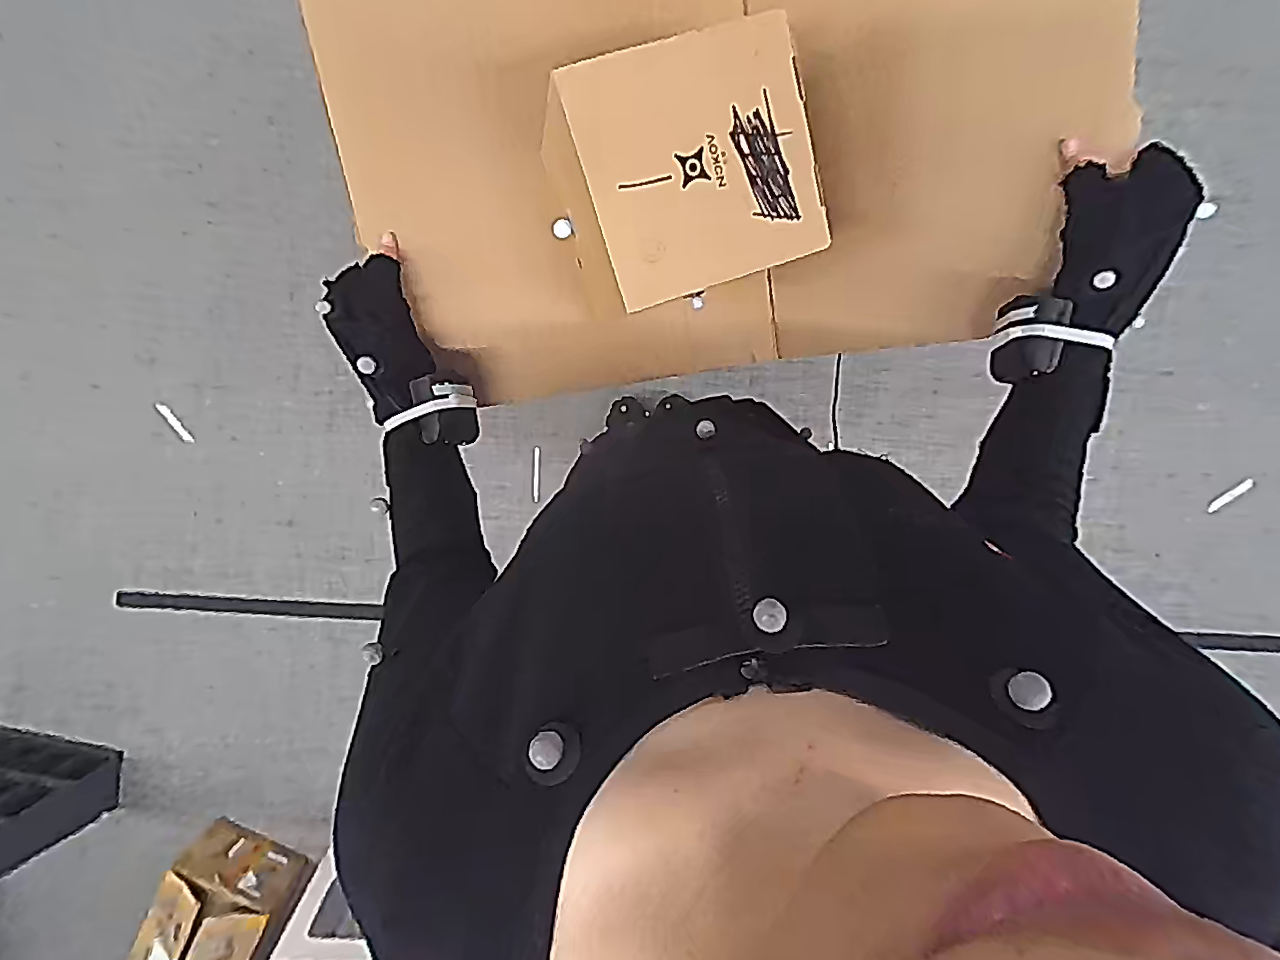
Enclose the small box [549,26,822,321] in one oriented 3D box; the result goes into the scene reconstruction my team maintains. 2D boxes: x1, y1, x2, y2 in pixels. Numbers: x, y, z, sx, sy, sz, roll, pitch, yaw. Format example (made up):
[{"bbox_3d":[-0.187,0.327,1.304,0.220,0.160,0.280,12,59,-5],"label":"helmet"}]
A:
[{"bbox_3d":[0.029,-0.247,0.480,0.179,0.176,0.168,-20,106,-7],"label":"small box"}]
